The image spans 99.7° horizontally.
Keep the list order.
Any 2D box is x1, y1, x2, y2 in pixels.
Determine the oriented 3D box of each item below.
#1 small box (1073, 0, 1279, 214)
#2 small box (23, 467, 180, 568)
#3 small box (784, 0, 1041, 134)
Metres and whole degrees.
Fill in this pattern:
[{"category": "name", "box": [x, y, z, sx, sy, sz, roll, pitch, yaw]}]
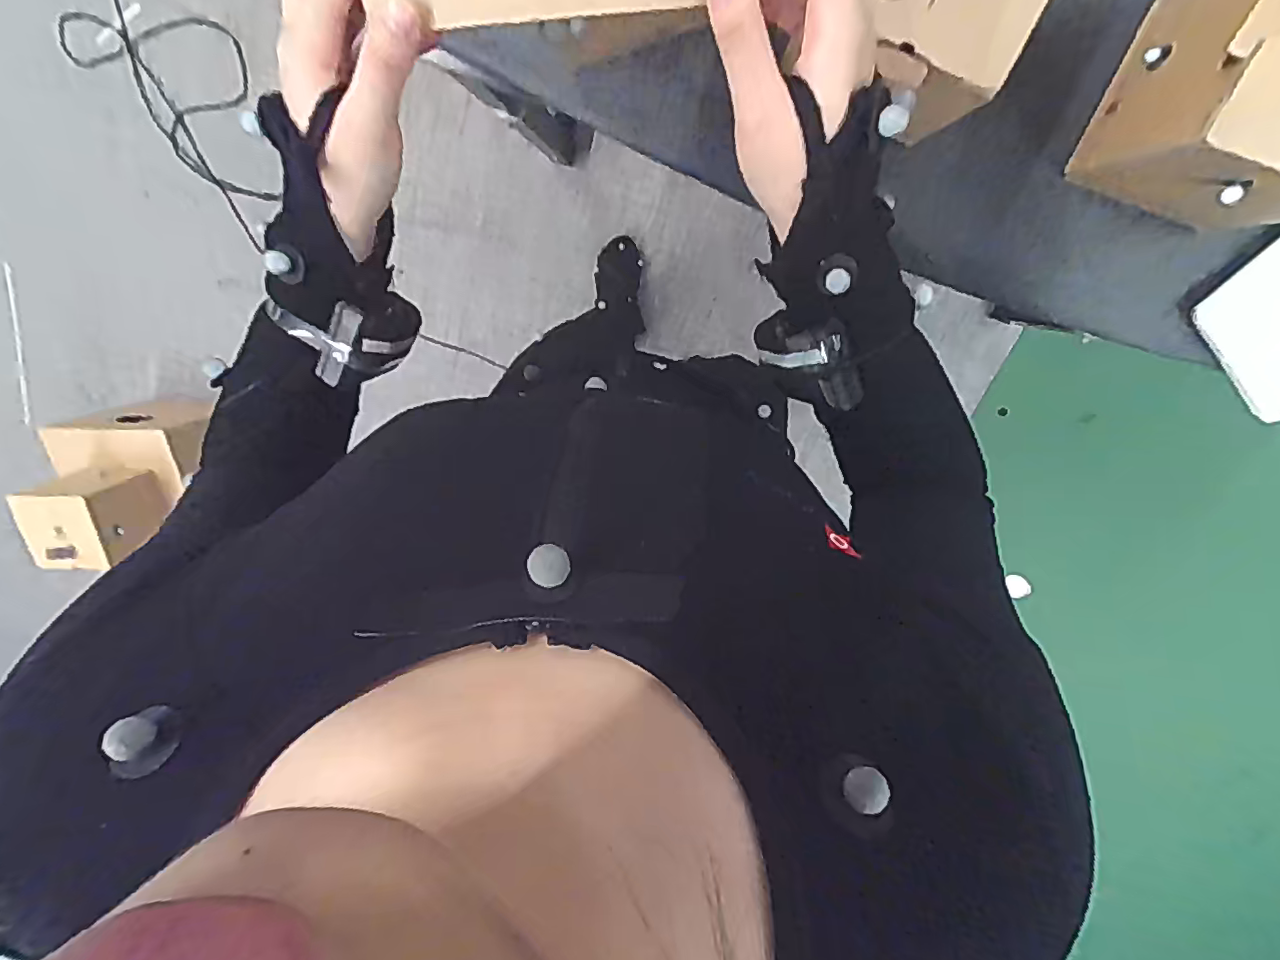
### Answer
[{"category": "small box", "box": [0.561, -0.352, 0.484, 0.179, 0.176, 0.168, 18, 110, -2]}, {"category": "small box", "box": [-1.217, 0.082, 1.242, 0.168, 0.176, 0.179, 1, 112, 2]}, {"category": "small box", "box": [0.243, -0.443, 0.471, 0.168, 0.176, 0.179, 22, 111, -4]}]
